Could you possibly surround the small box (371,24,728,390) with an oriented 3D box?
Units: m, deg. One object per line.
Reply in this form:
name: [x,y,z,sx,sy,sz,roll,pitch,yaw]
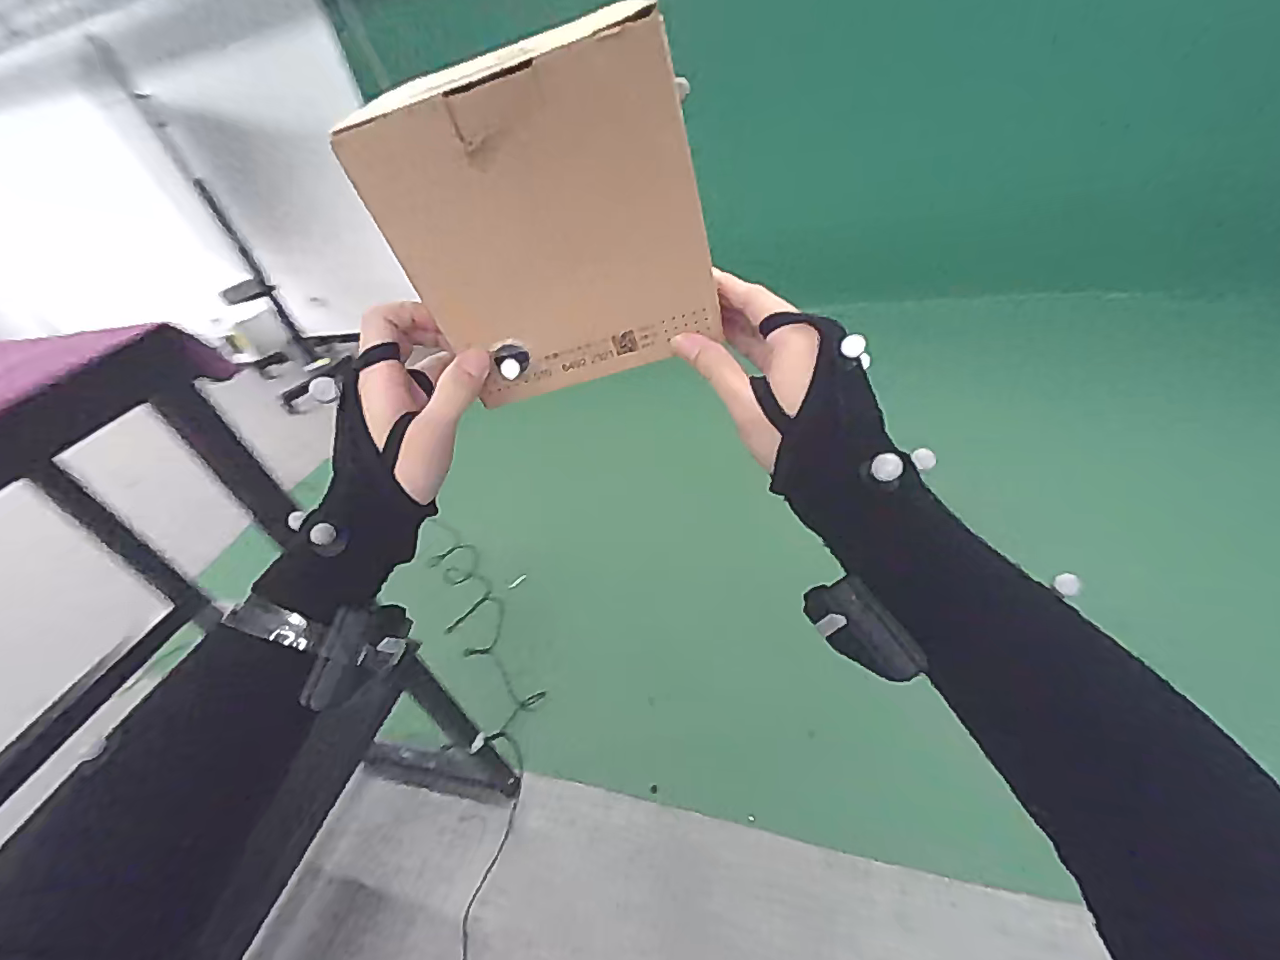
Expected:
small box: [-0.043,-0.180,0.377,0.168,0.176,0.179,-14,41,8]
